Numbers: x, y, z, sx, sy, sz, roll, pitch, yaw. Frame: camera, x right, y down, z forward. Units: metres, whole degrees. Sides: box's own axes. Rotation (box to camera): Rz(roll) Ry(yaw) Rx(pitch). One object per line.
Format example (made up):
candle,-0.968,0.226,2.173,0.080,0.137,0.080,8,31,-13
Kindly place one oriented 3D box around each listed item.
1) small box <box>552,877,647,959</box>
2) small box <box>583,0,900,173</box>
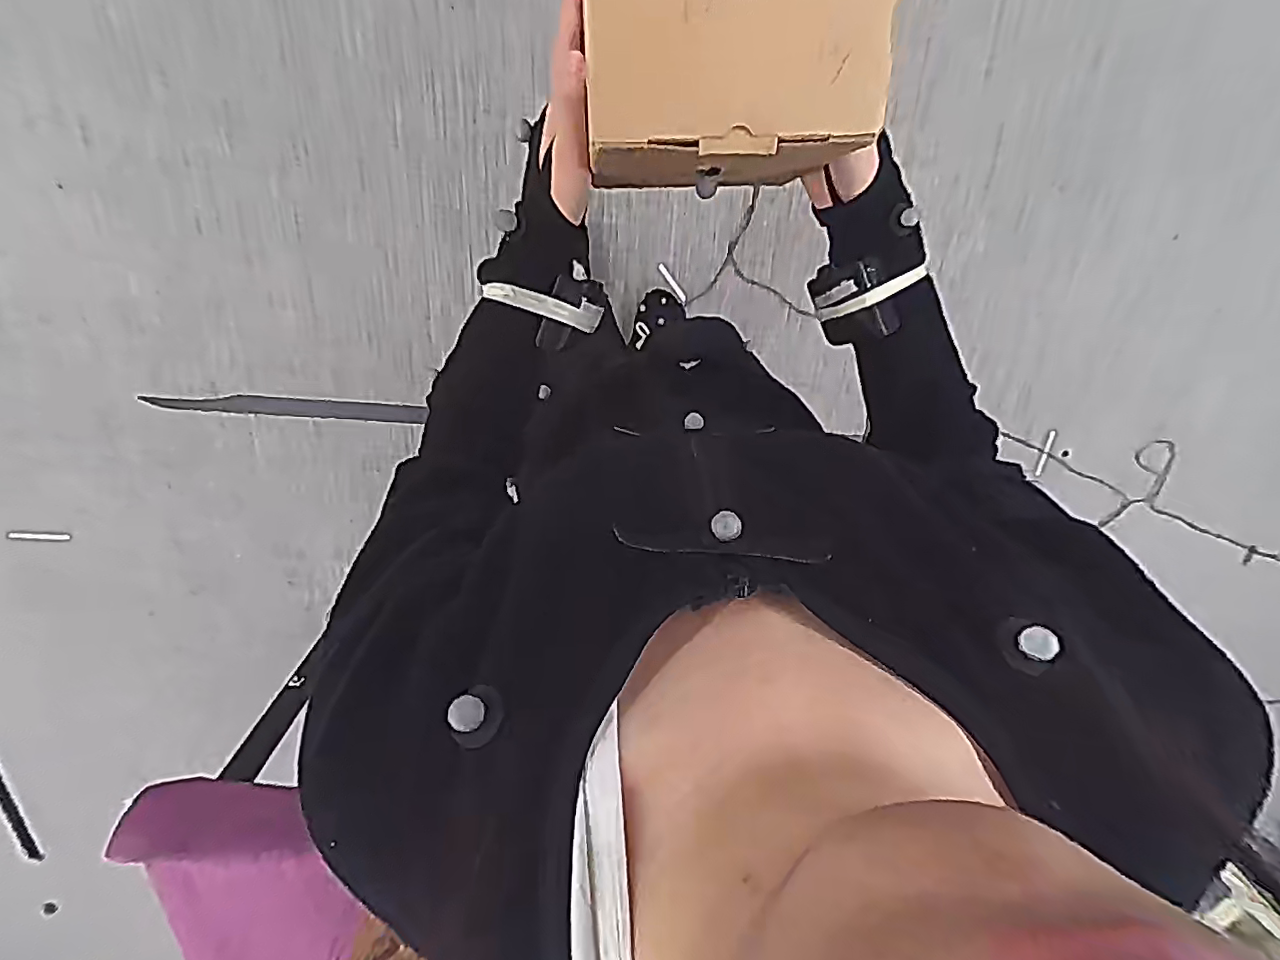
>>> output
small box,-0.082,0.894,1.032,0.168,0.176,0.179,3,113,-6
small box,0.048,-0.301,0.341,0.168,0.176,0.179,-4,112,-5
